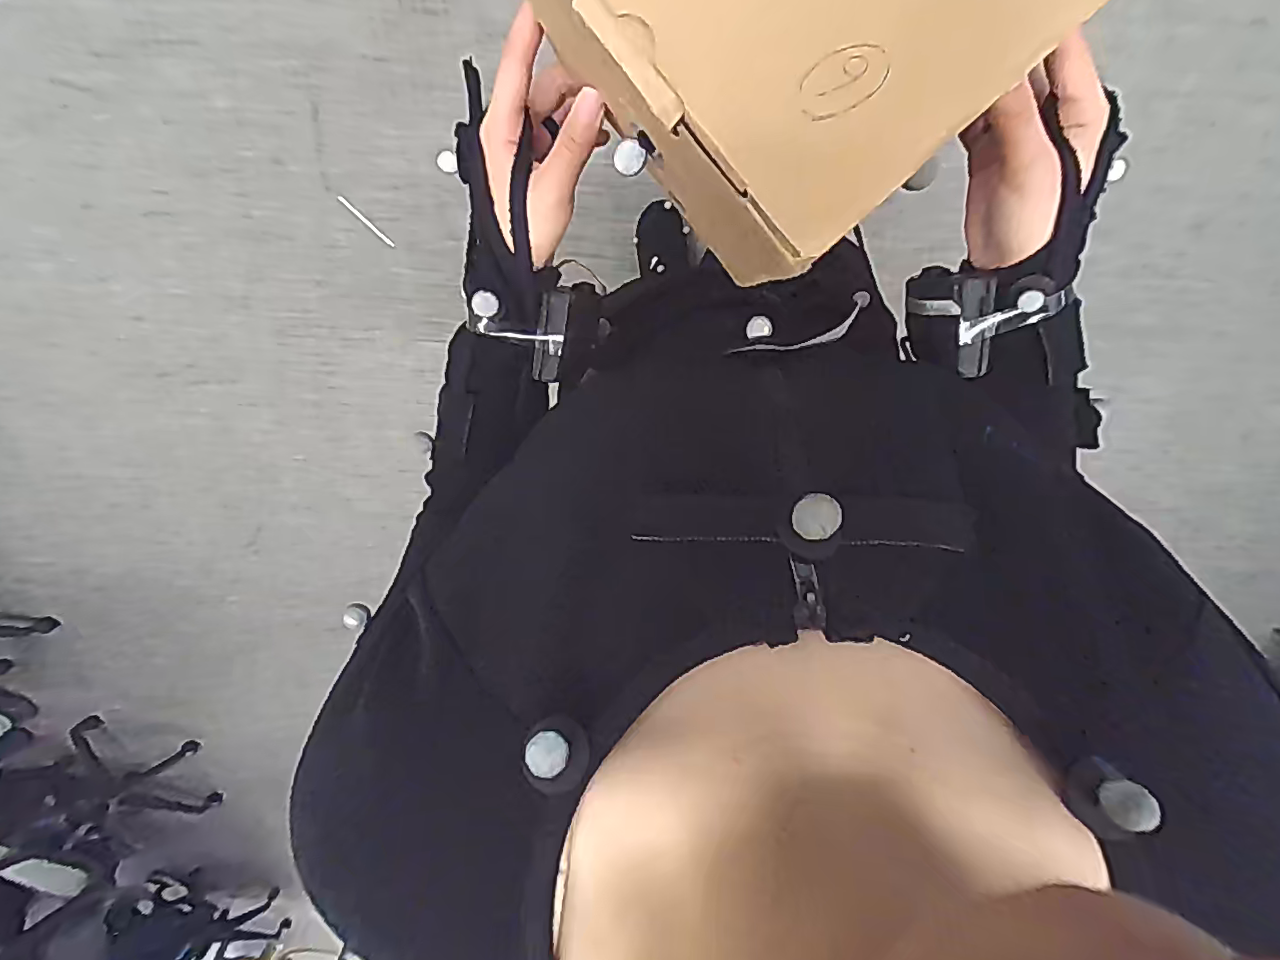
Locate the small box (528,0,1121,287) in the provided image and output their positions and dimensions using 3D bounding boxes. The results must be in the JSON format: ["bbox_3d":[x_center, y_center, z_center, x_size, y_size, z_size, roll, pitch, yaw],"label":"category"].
[{"bbox_3d":[0.066,-0.197,0.218,0.179,0.176,0.168,-40,100,15],"label":"small box"}]
